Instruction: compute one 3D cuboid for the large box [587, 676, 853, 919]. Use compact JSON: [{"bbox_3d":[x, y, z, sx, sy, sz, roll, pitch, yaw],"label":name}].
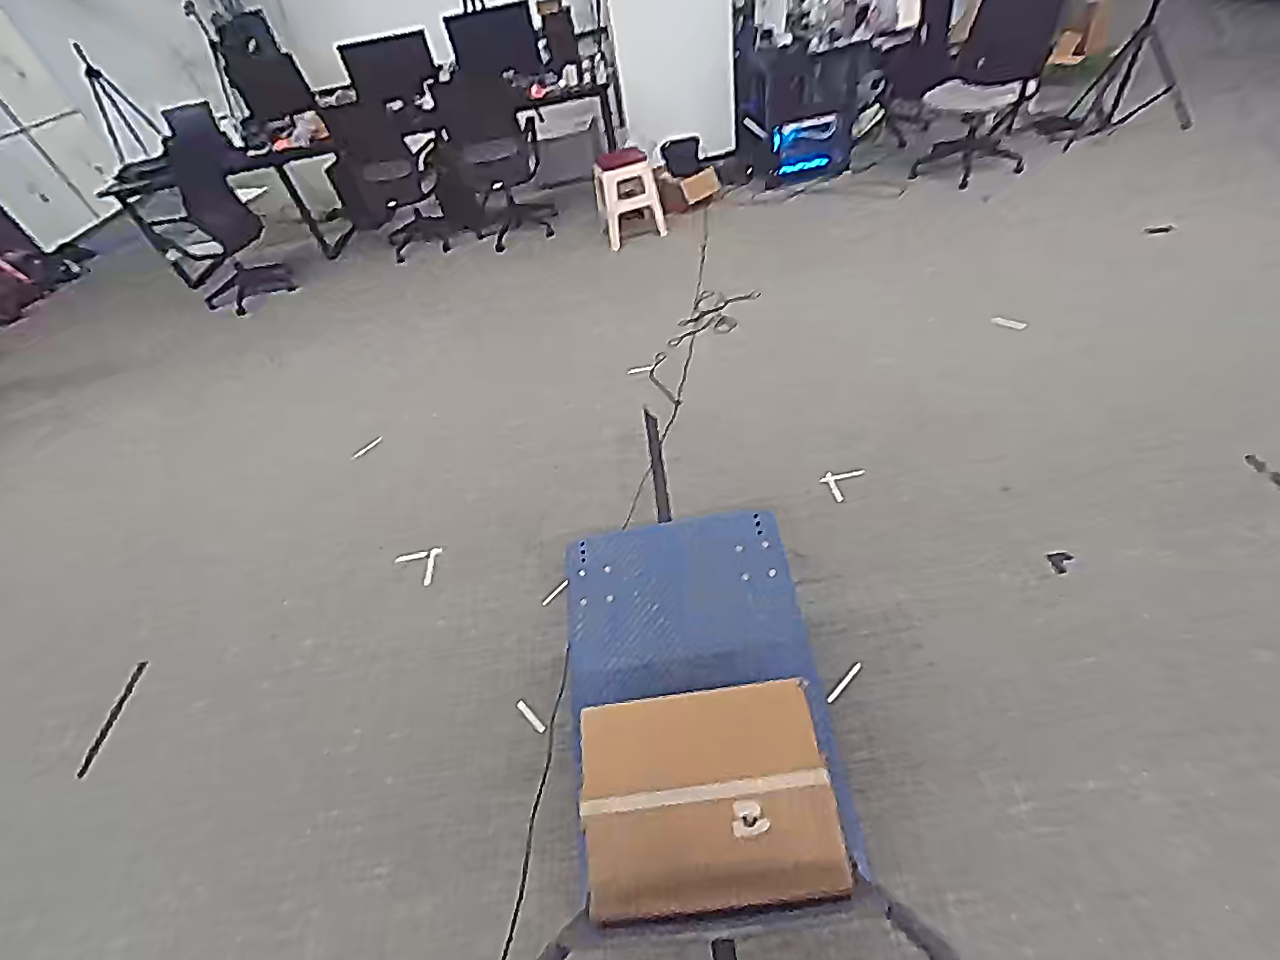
[{"bbox_3d":[0.132,0.598,1.038,0.408,0.320,0.320,-10,59,2],"label":"large box"}]
